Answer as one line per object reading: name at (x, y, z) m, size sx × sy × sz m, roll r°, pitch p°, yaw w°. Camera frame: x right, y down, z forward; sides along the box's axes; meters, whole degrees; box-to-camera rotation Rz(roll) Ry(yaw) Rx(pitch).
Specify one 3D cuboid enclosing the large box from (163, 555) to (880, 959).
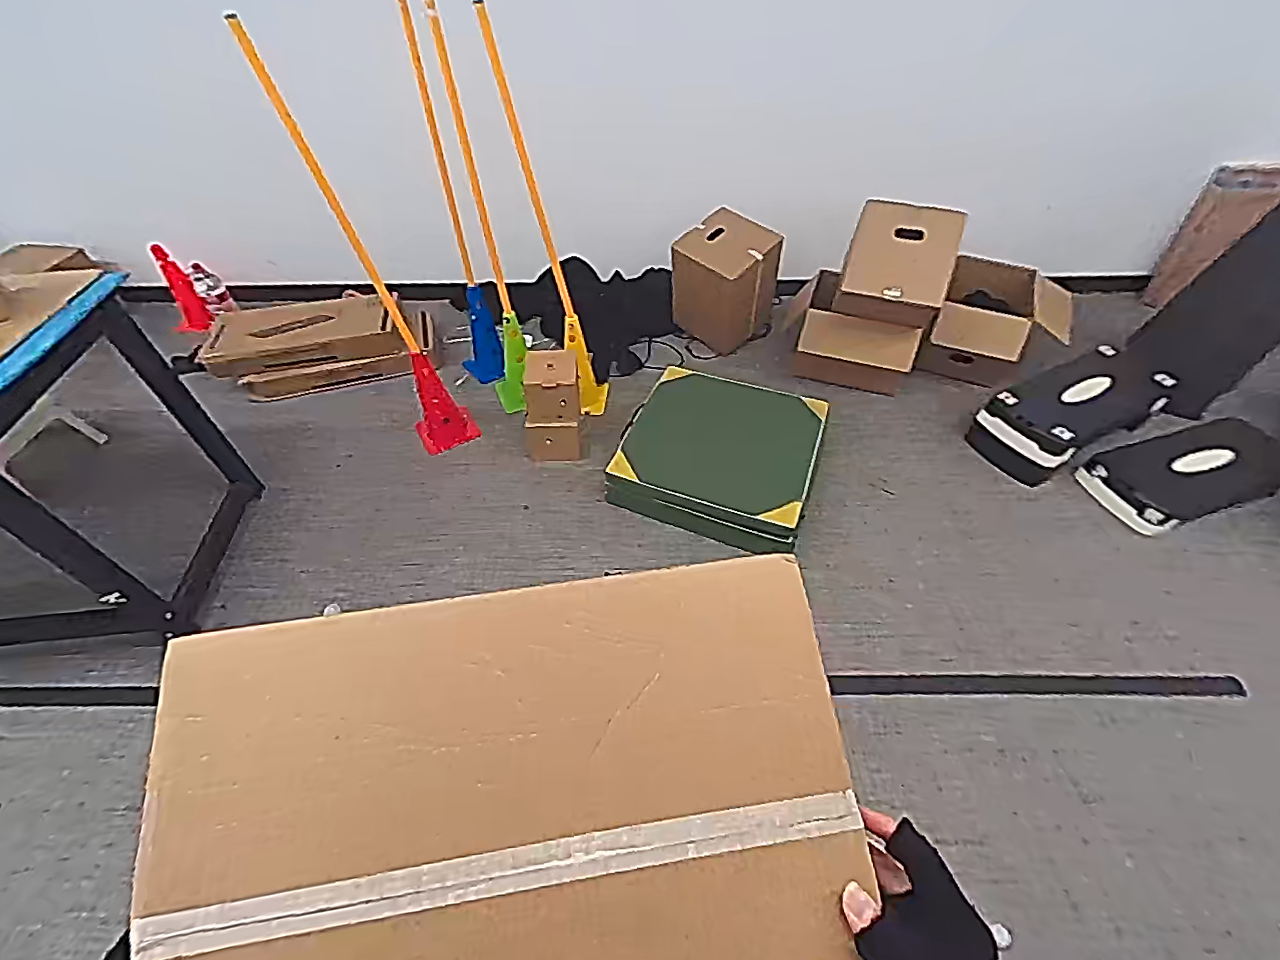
large box at (-0.076, 0.272, 0.461) m, size 0.408 × 0.320 × 0.320 m, roll -7°, pitch 72°, yaw -4°
